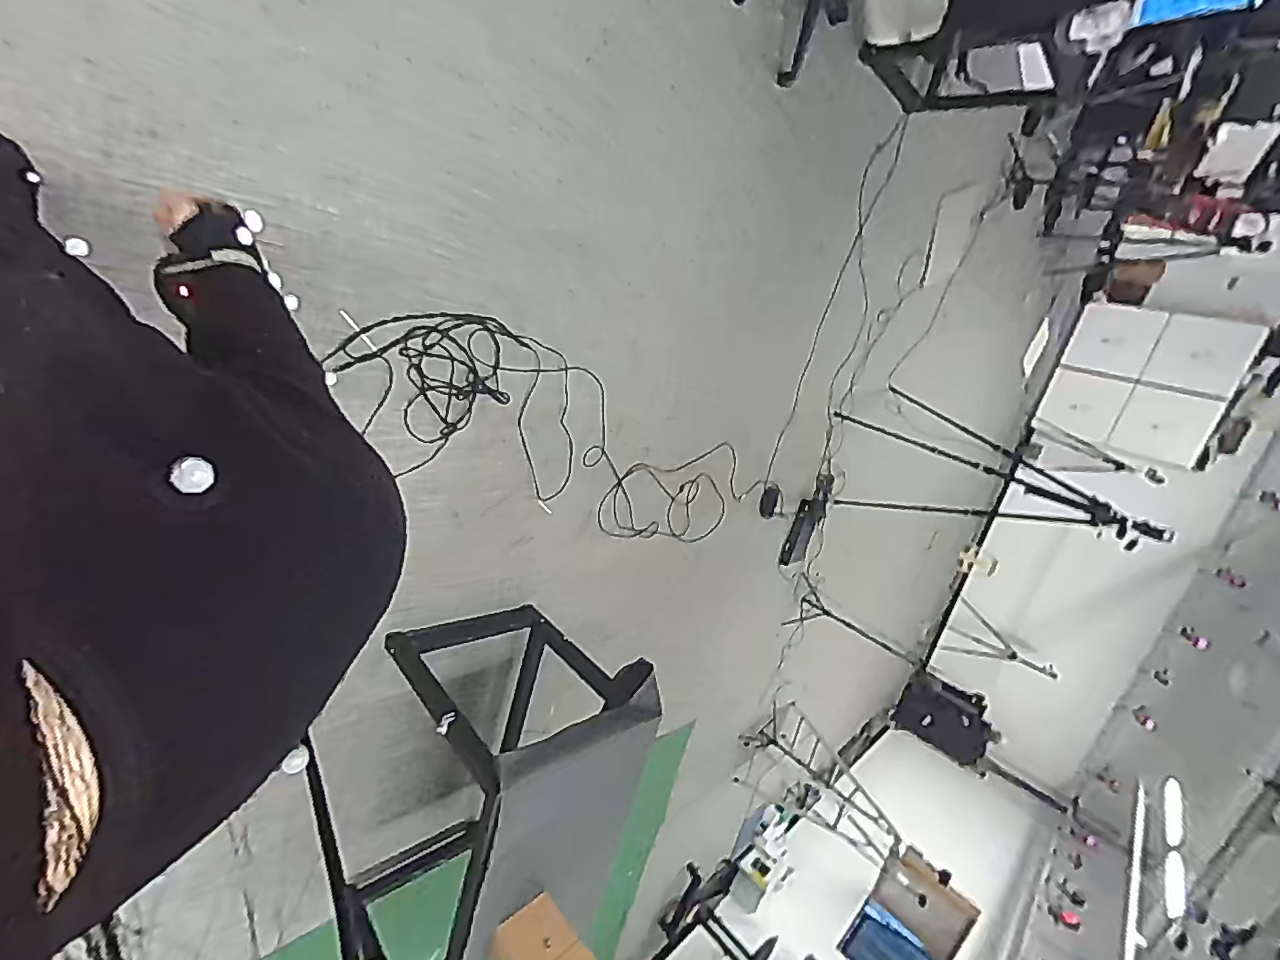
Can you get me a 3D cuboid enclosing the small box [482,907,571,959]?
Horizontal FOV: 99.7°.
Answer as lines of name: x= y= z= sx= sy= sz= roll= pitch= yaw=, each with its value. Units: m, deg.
small box: x=-0.323 y=1.354 z=1.500 sx=0.179 sy=0.176 sz=0.168 roll=-6 pitch=114 yaw=-47
